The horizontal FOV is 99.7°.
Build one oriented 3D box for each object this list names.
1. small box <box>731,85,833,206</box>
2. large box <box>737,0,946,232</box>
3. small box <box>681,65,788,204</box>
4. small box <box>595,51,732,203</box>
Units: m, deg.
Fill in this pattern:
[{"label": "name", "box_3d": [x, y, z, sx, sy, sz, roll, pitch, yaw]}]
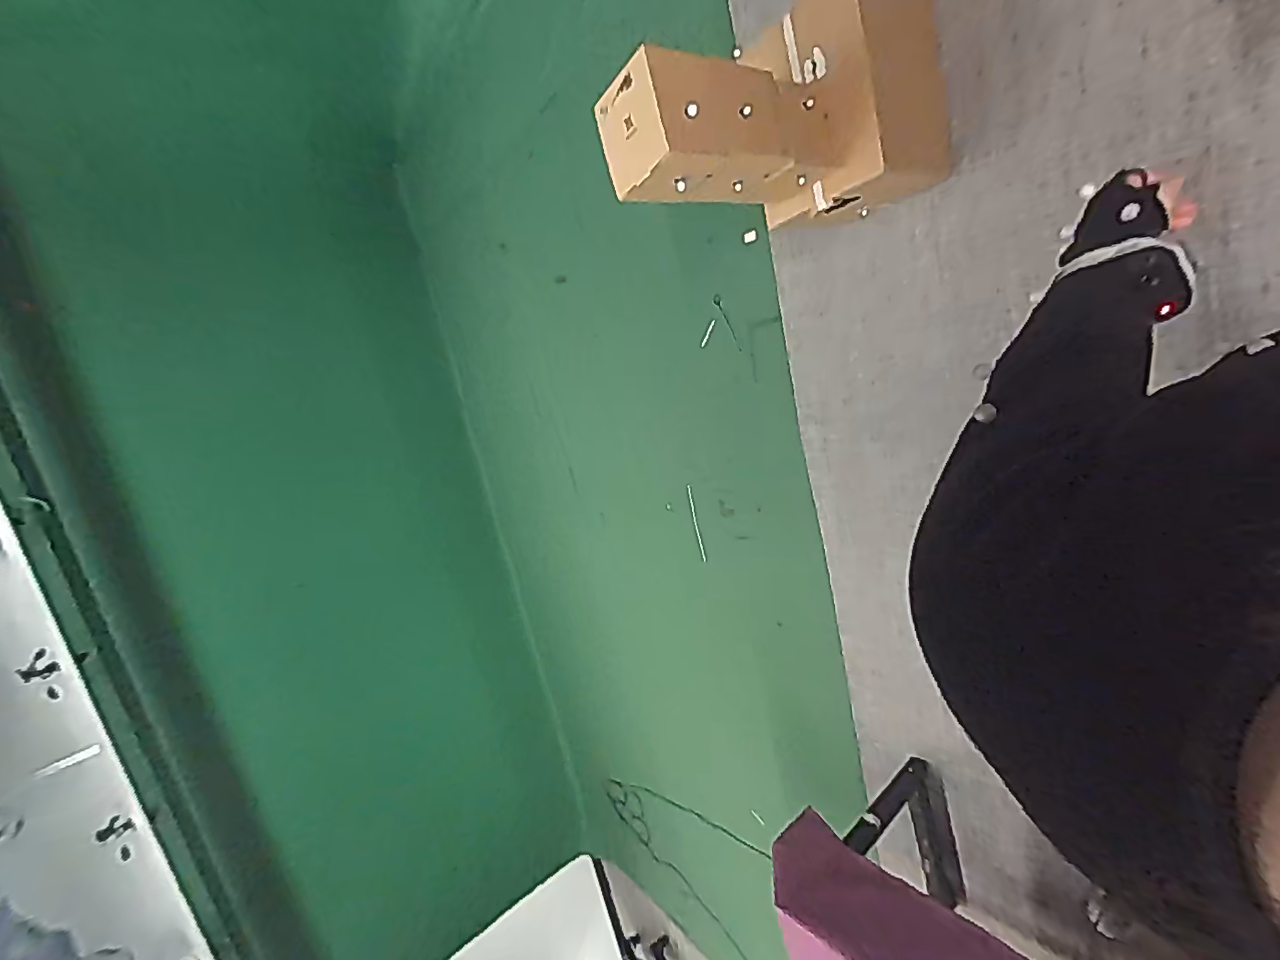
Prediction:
[{"label": "small box", "box_3d": [0.301, -0.722, 1.185, 0.179, 0.176, 0.168, -2, 104, 55]}, {"label": "large box", "box_3d": [0.484, -0.858, 1.298, 0.320, 0.320, 0.408, -1, 105, 54]}, {"label": "small box", "box_3d": [0.173, -0.684, 1.090, 0.168, 0.176, 0.179, -9, 98, 55]}, {"label": "small box", "box_3d": [0.047, -0.637, 0.996, 0.168, 0.176, 0.179, -6, 102, 55]}]
